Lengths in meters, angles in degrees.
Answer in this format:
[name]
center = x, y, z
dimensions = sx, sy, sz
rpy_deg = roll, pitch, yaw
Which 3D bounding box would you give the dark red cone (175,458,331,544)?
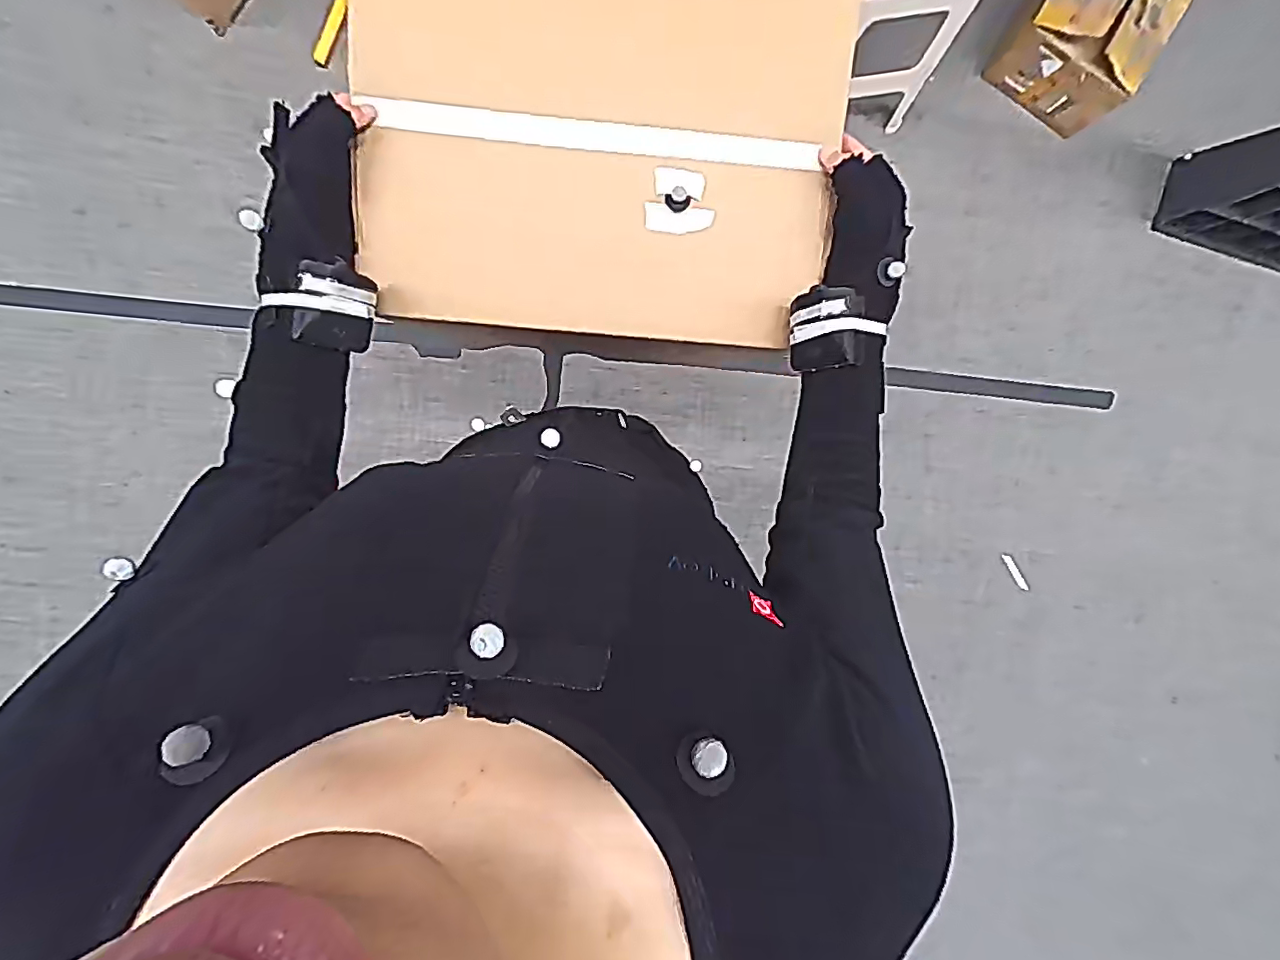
[dark red cone]
center = -0.890, 0.068, 1.225
dimensions = 0.201, 0.394, 0.202
rpy_deg = 11, 95, -6

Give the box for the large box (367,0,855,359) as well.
[large box]
center = -0.037, -0.312, 0.602
dimensions = 0.408, 0.320, 0.320
rpy_deg = 4, 100, -5
